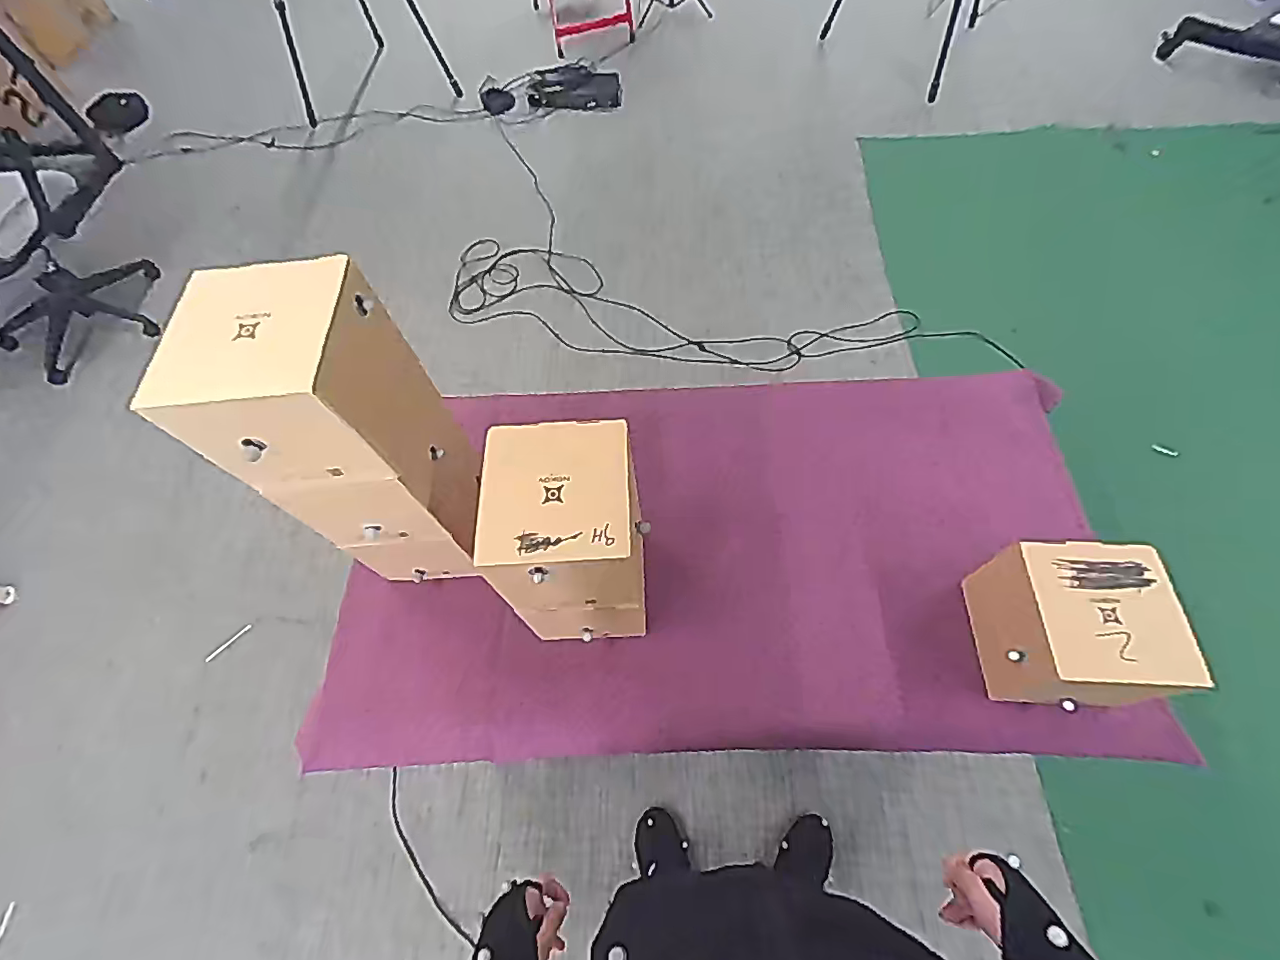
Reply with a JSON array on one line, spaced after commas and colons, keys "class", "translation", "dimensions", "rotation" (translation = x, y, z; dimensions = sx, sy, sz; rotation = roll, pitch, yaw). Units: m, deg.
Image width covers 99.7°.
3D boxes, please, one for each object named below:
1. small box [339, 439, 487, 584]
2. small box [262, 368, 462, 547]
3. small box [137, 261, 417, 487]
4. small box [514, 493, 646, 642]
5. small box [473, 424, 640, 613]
[{"class": "small box", "translation": [-0.342, 0.055, 0.867], "dimensions": [0.168, 0.176, 0.179], "rotation": [-4, 62, 2]}, {"class": "small box", "translation": [-0.351, -0.025, 0.724], "dimensions": [0.168, 0.176, 0.179], "rotation": [-4, 62, 2]}, {"class": "small box", "translation": [-0.361, -0.102, 0.582], "dimensions": [0.168, 0.176, 0.179], "rotation": [-5, 61, 2]}, {"class": "small box", "translation": [-0.079, 0.133, 0.807], "dimensions": [0.168, 0.176, 0.179], "rotation": [-3, 62, 3]}, {"class": "small box", "translation": [-0.089, 0.052, 0.663], "dimensions": [0.168, 0.176, 0.179], "rotation": [-3, 60, 3]}]
